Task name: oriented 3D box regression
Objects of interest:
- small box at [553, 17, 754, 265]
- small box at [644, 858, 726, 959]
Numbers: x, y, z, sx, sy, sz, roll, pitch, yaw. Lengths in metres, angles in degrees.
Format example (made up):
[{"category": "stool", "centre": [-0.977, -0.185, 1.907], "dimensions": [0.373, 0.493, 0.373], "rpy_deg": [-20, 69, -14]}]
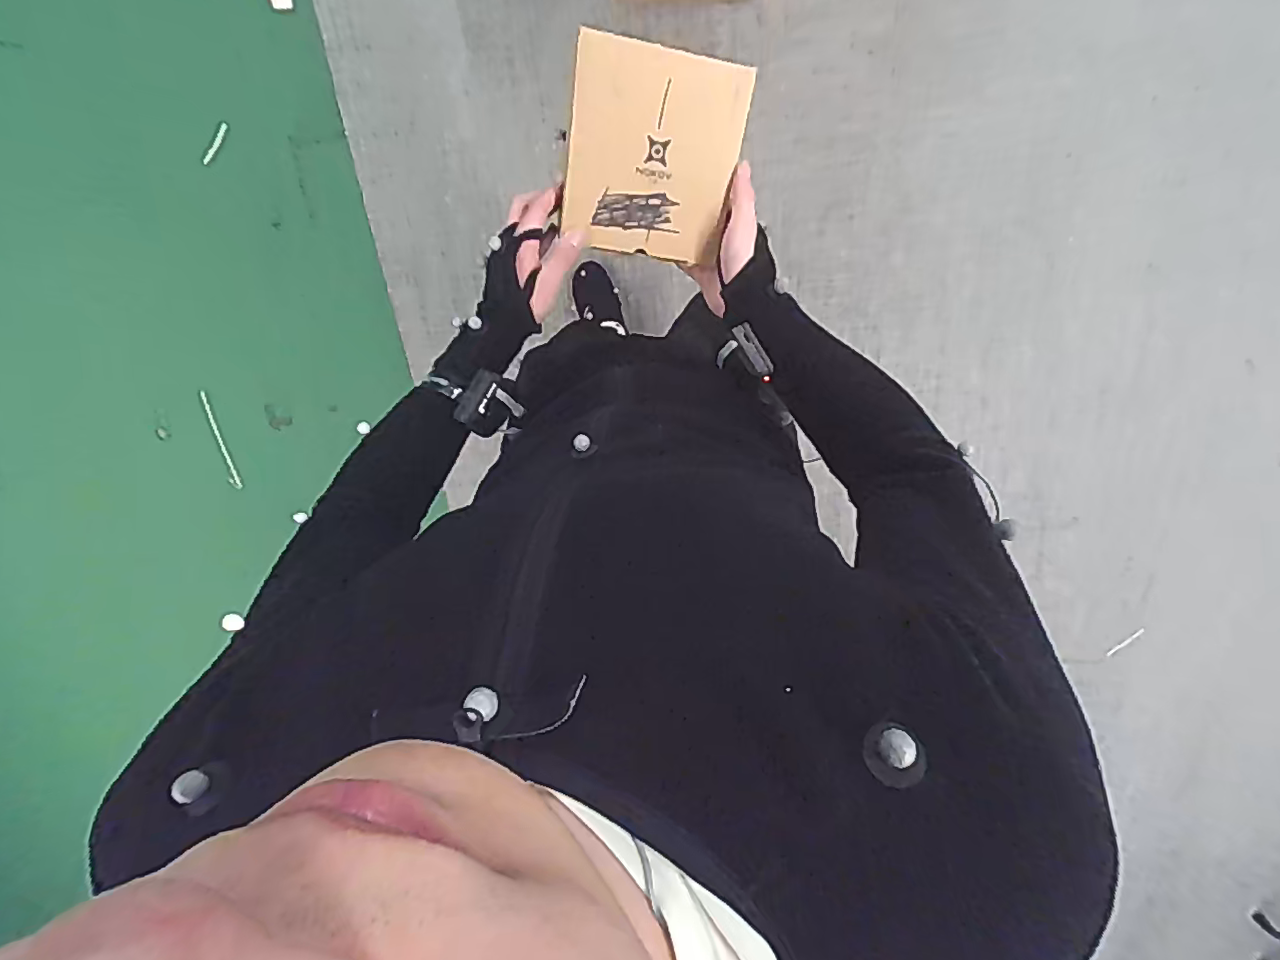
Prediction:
[{"category": "small box", "centre": [-0.002, -0.347, 0.574], "dimensions": [0.168, 0.176, 0.179], "rpy_deg": [4, 121, -13]}, {"category": "small box", "centre": [0.102, 0.984, 1.205], "dimensions": [0.168, 0.176, 0.179], "rpy_deg": [-7, 112, 4]}]
